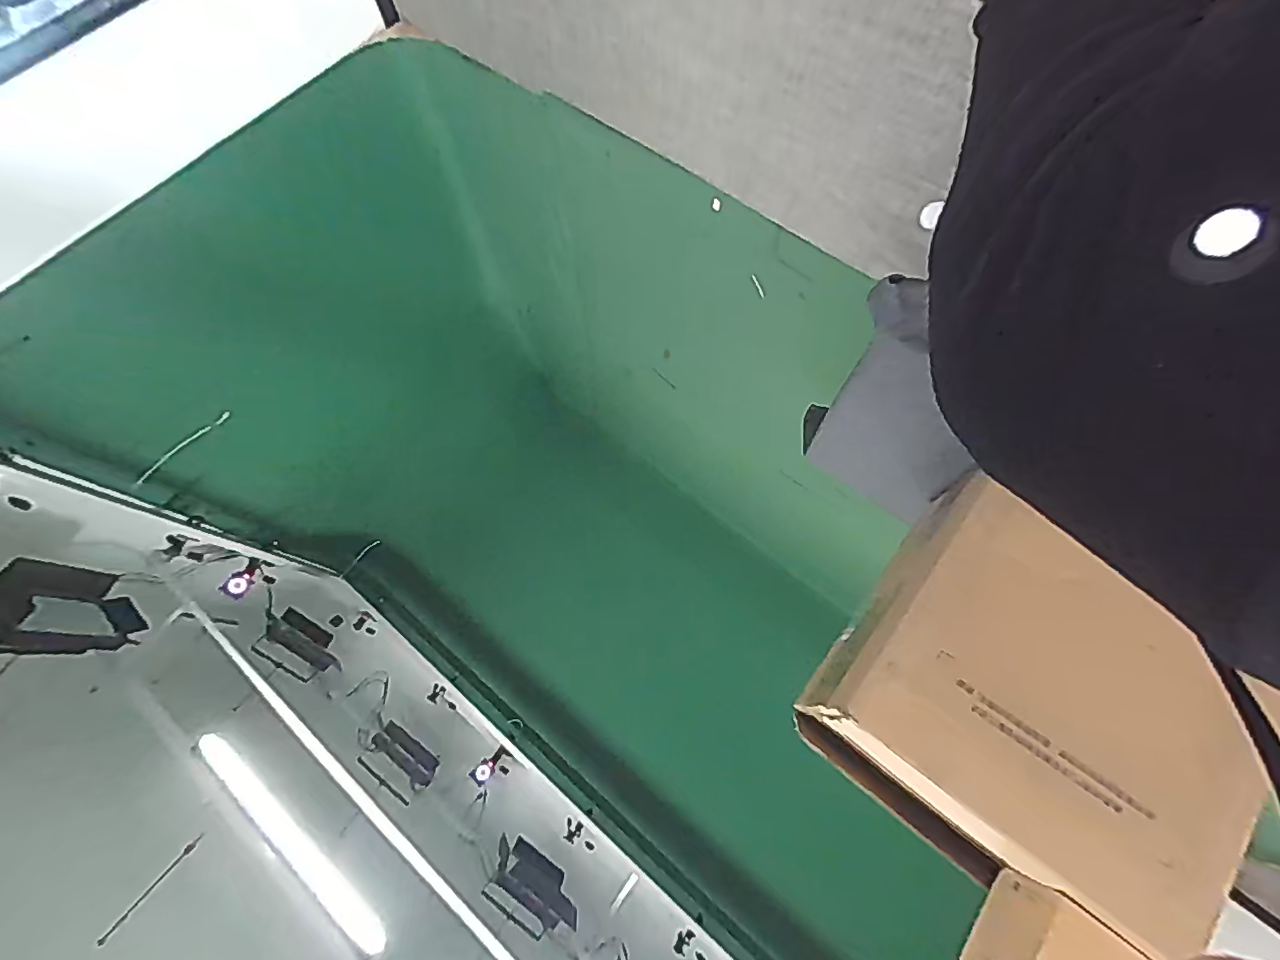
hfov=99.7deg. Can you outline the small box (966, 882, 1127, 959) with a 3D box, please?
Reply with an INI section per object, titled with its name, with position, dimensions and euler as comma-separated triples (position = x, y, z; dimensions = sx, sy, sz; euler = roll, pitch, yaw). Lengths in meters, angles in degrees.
[small box]
position = 0.625, 0.751, 0.795
dimensions = 0.179, 0.176, 0.168
euler = 34, 161, 17
